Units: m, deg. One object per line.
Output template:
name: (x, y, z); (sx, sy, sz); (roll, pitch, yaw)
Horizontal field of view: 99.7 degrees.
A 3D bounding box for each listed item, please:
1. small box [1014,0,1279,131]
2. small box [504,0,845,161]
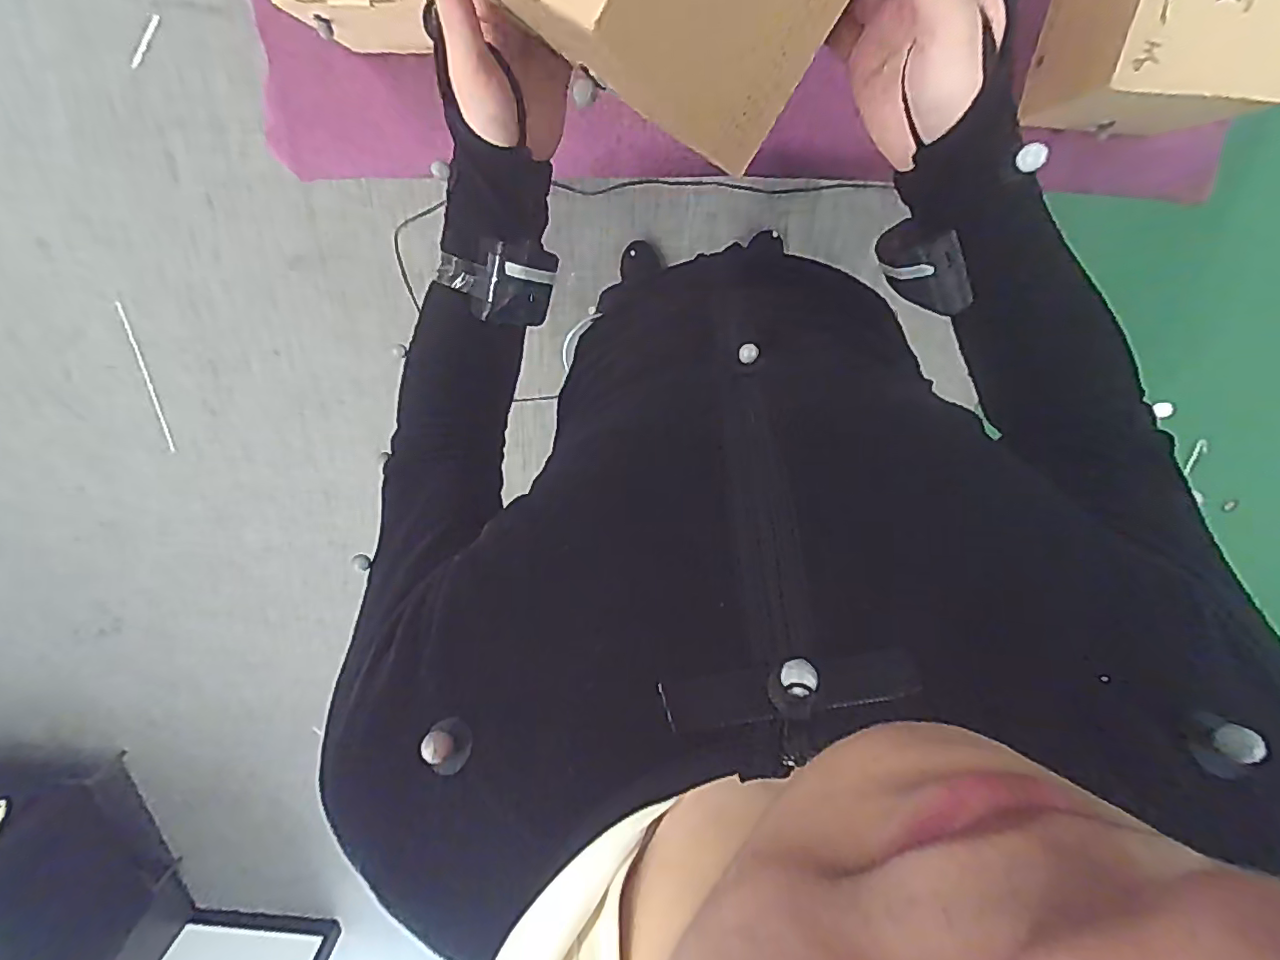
small box: (0.549, -0.481, 0.567); (0.179, 0.176, 0.168); (6, 113, 2)
small box: (0.011, -0.291, 0.247); (0.168, 0.176, 0.179); (42, 117, 15)
